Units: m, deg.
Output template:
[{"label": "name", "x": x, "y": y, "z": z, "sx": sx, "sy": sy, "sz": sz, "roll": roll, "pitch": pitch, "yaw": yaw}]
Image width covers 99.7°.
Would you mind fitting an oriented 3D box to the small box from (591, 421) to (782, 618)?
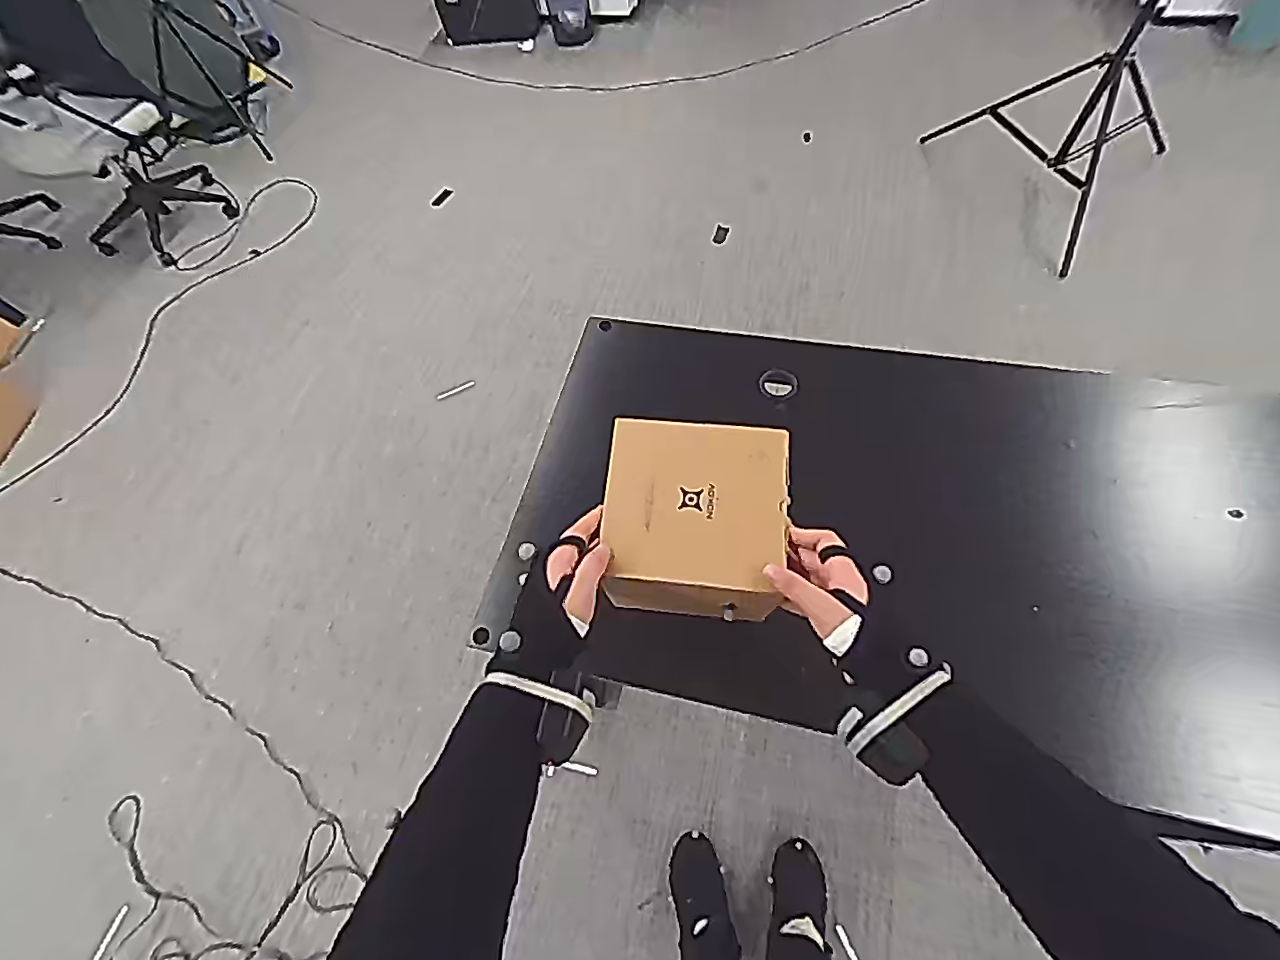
[{"label": "small box", "x": 0.054, "y": 0.052, "z": 0.595, "sx": 0.179, "sy": 0.176, "sz": 0.168, "roll": 4, "pitch": 66, "yaw": 7}]
